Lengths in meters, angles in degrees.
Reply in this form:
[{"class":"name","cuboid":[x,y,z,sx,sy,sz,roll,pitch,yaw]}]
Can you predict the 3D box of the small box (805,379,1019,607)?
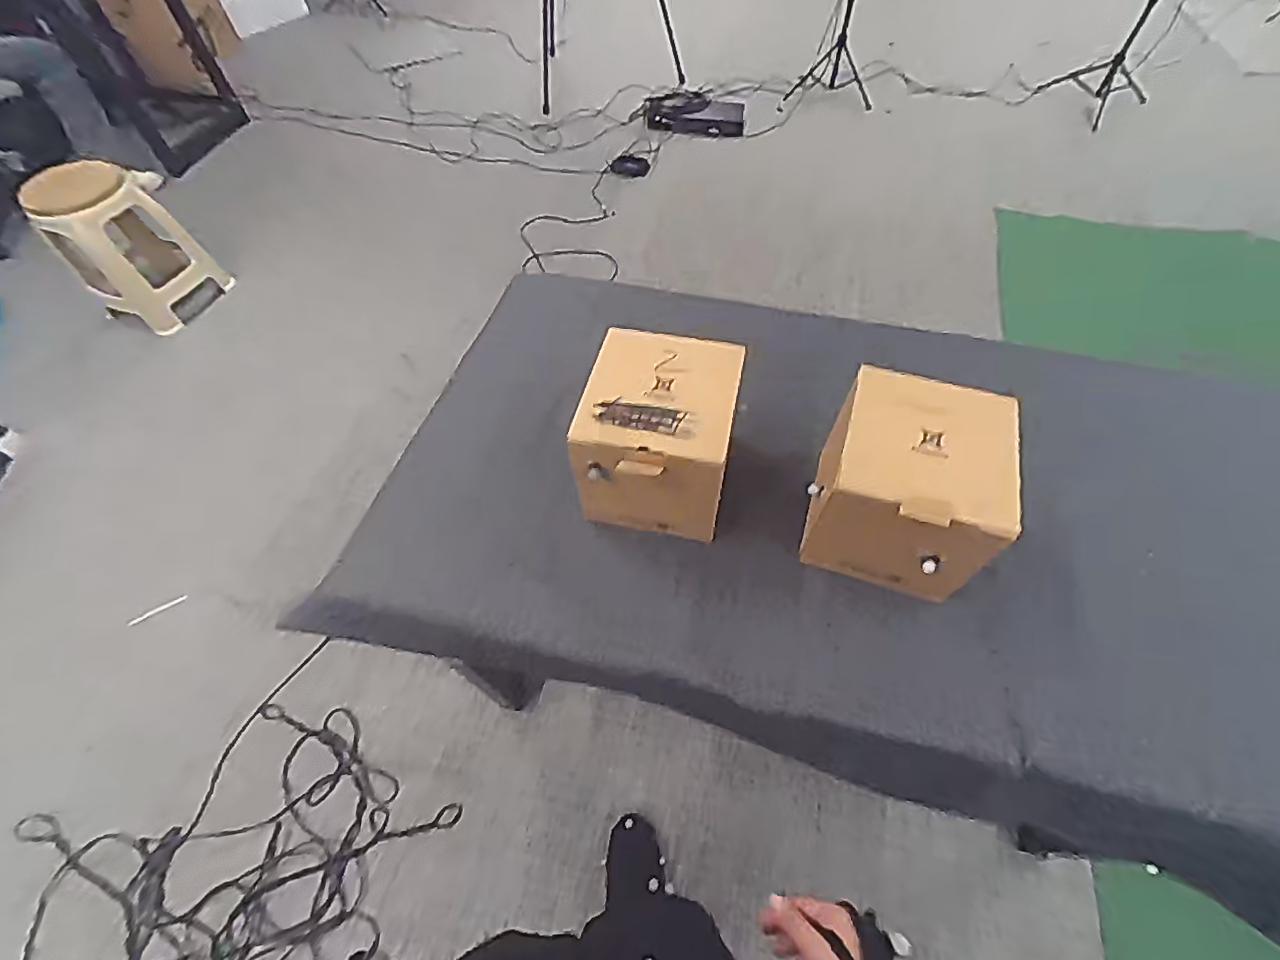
[{"class":"small box","cuboid":[0.295,0.020,0.613,0.168,0.176,0.179,15,57,12]}]
